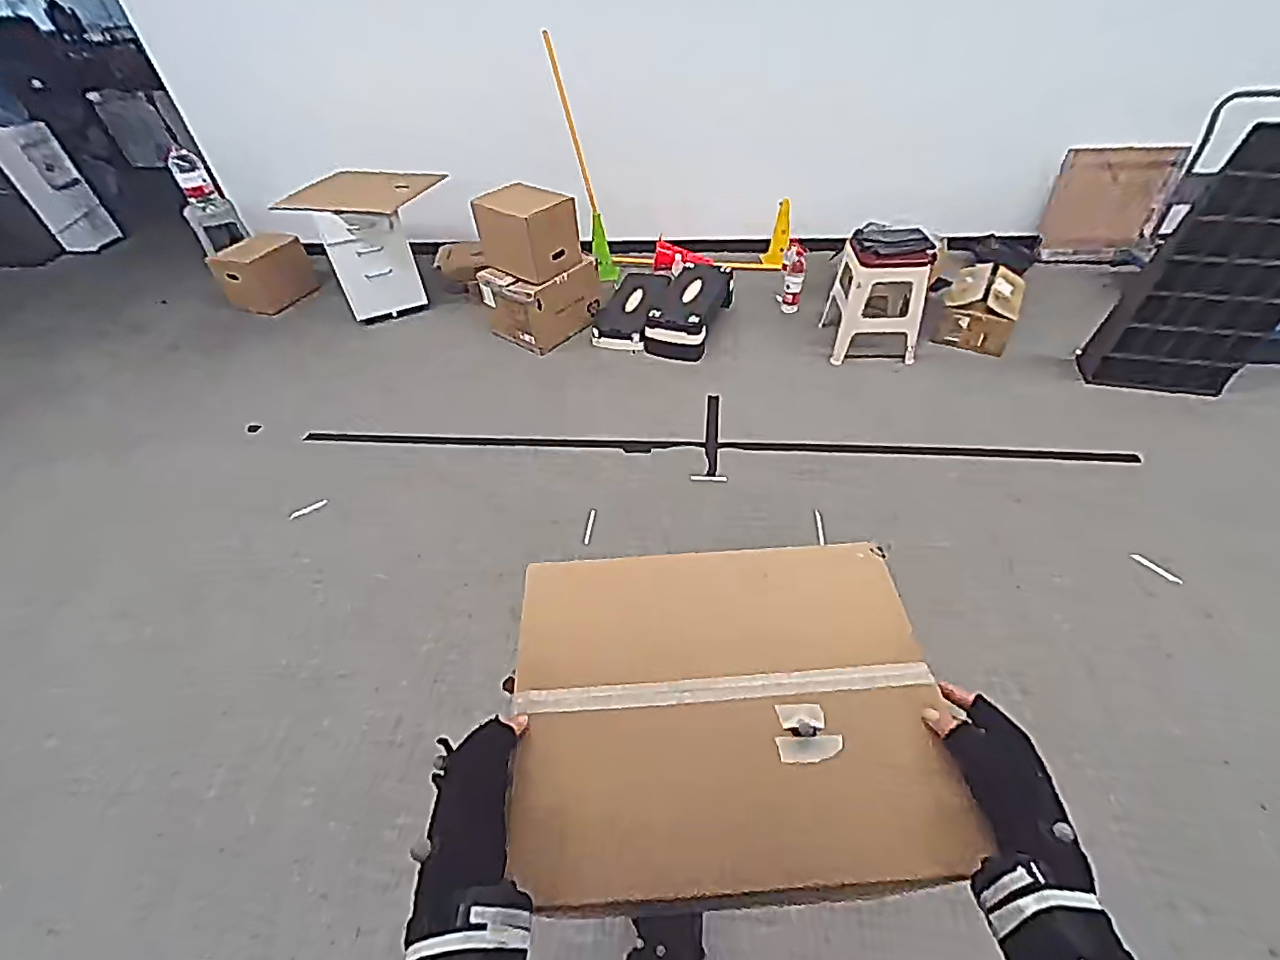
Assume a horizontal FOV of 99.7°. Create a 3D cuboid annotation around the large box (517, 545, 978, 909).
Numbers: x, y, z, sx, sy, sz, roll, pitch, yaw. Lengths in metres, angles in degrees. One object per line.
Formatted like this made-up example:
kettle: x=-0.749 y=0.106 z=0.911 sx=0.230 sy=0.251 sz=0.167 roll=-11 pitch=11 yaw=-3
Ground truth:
large box: x=0.084 y=0.305 z=0.662 sx=0.408 sy=0.320 sz=0.320 roll=-3 pitch=50 yaw=-1
